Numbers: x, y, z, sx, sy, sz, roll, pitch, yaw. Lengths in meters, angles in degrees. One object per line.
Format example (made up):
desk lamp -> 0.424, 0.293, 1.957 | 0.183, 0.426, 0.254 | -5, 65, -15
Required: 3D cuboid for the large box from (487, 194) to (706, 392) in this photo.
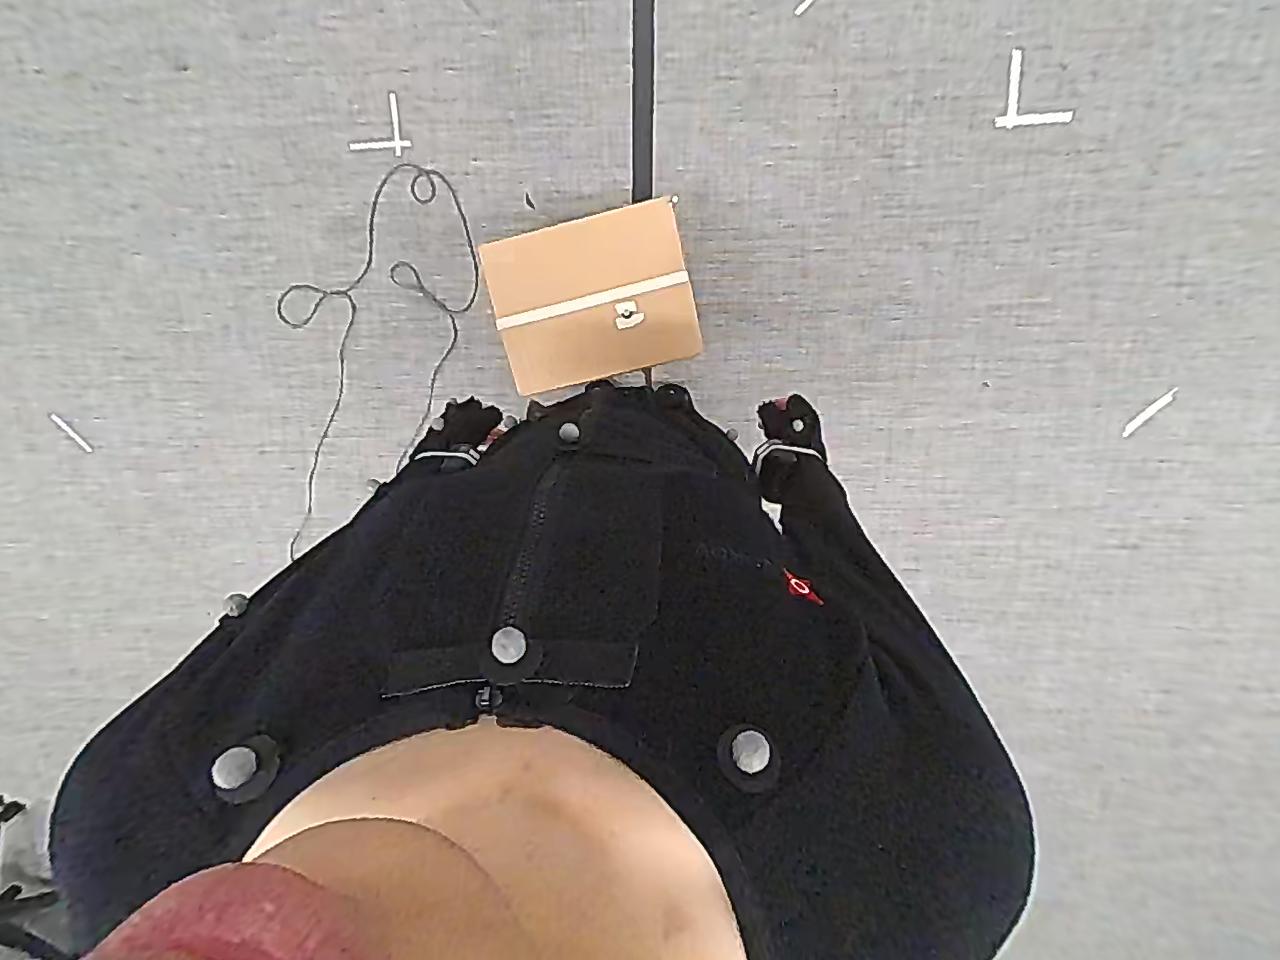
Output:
large box -> -0.083, -0.404, 1.260 | 0.408, 0.320, 0.320 | -12, 101, 5
